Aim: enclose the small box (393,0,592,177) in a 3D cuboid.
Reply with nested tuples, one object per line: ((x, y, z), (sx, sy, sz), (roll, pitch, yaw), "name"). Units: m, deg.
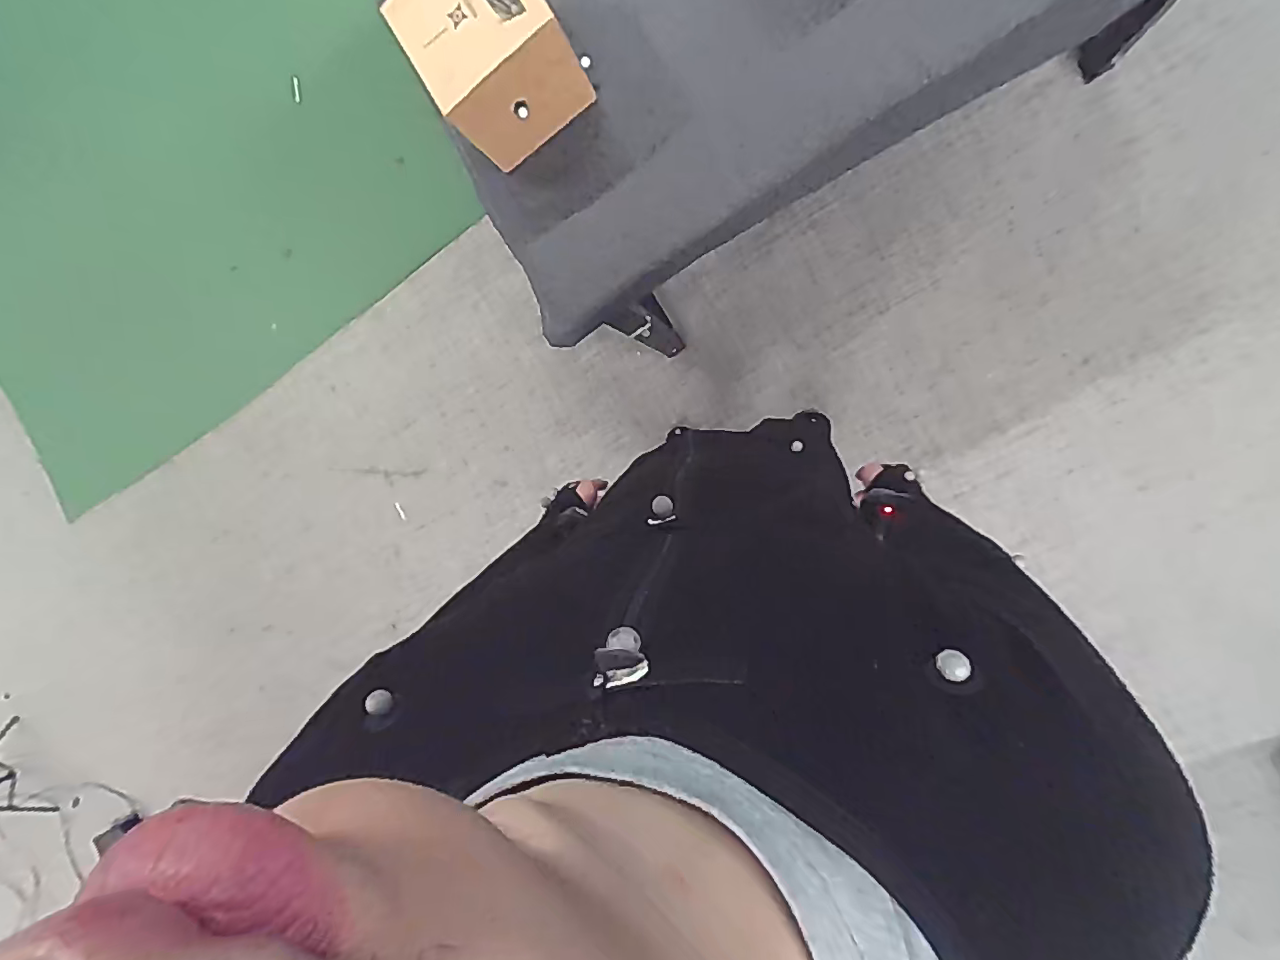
((-0.183, -0.562, 0.734), (0.179, 0.176, 0.168), (-31, 88, 16), "small box")
